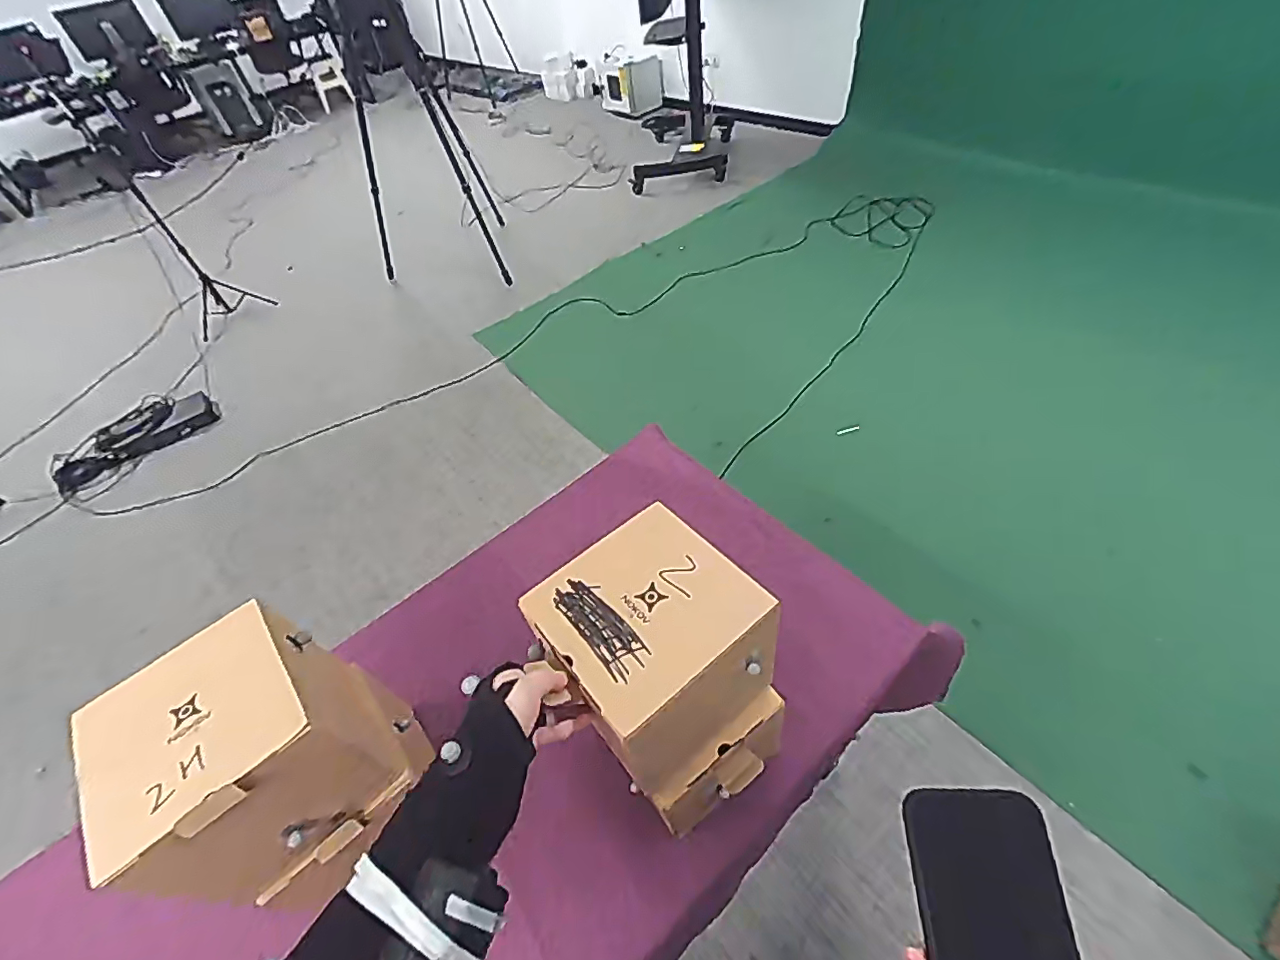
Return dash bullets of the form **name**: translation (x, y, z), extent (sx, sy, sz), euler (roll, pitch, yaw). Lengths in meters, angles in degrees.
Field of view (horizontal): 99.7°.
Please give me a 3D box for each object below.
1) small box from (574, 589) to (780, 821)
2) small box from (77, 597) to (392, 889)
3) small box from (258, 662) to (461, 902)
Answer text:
- **small box**: translation (0.045, 0.275, 0.659), extent (0.168, 0.176, 0.179), euler (-33, 53, -18)
- **small box**: translation (-0.382, 0.257, 0.530), extent (0.168, 0.176, 0.179), euler (-37, 54, -21)
- **small box**: translation (-0.347, 0.363, 0.652), extent (0.168, 0.176, 0.179), euler (-37, 53, -21)
